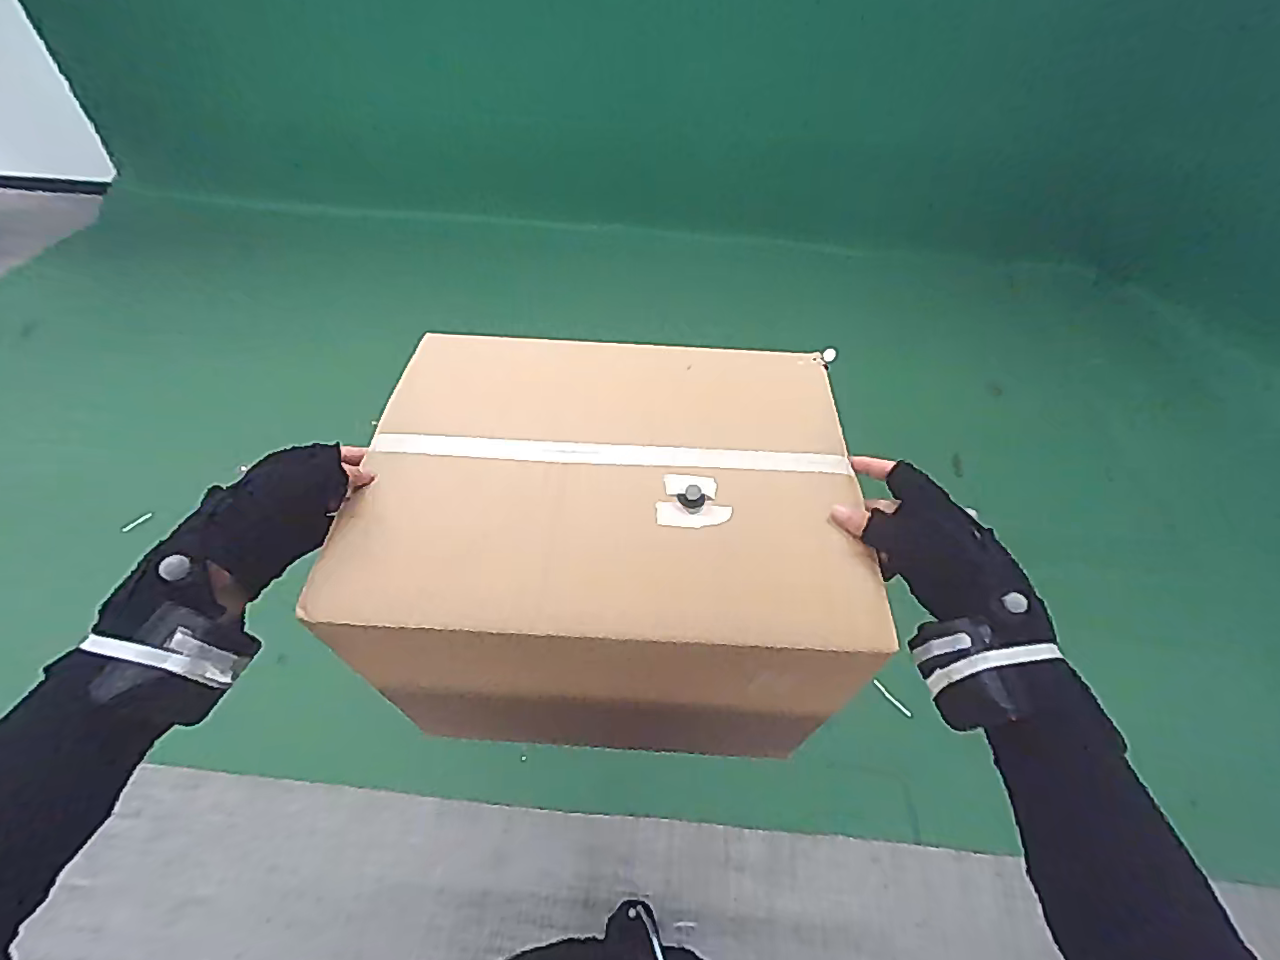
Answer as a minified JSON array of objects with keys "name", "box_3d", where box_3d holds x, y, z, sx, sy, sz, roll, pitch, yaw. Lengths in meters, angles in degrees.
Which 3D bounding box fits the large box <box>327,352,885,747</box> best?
[{"name":"large box","box_3d":[-0.024,0.083,0.586,0.408,0.320,0.320,2,52,0]}]
